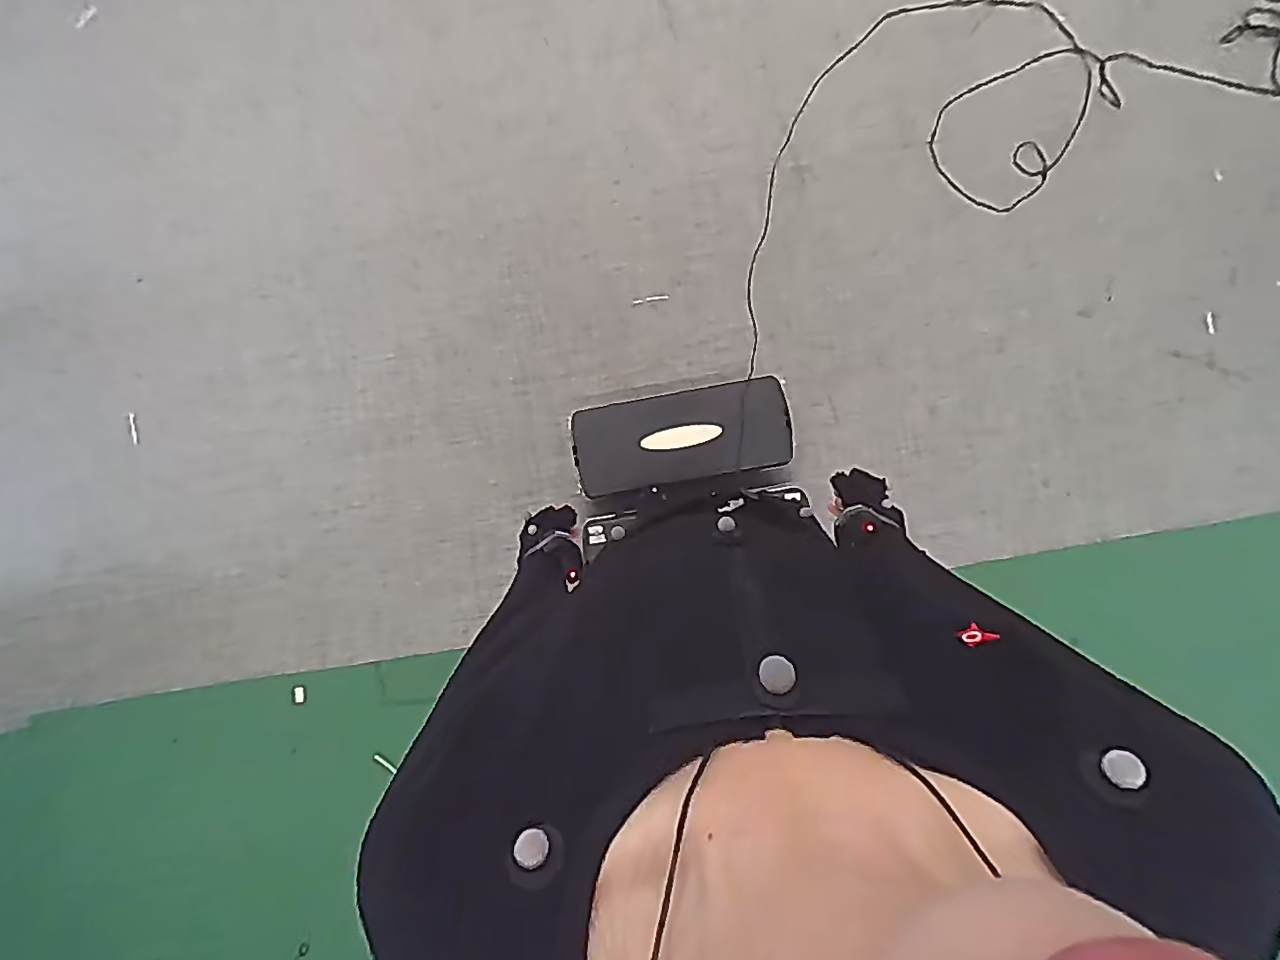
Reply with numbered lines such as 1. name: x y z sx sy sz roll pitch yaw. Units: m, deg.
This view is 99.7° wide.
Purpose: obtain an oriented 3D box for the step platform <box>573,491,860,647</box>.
1. step platform: 0.182 0.219 1.390 0.684 0.204 0.286 -10 88 1
